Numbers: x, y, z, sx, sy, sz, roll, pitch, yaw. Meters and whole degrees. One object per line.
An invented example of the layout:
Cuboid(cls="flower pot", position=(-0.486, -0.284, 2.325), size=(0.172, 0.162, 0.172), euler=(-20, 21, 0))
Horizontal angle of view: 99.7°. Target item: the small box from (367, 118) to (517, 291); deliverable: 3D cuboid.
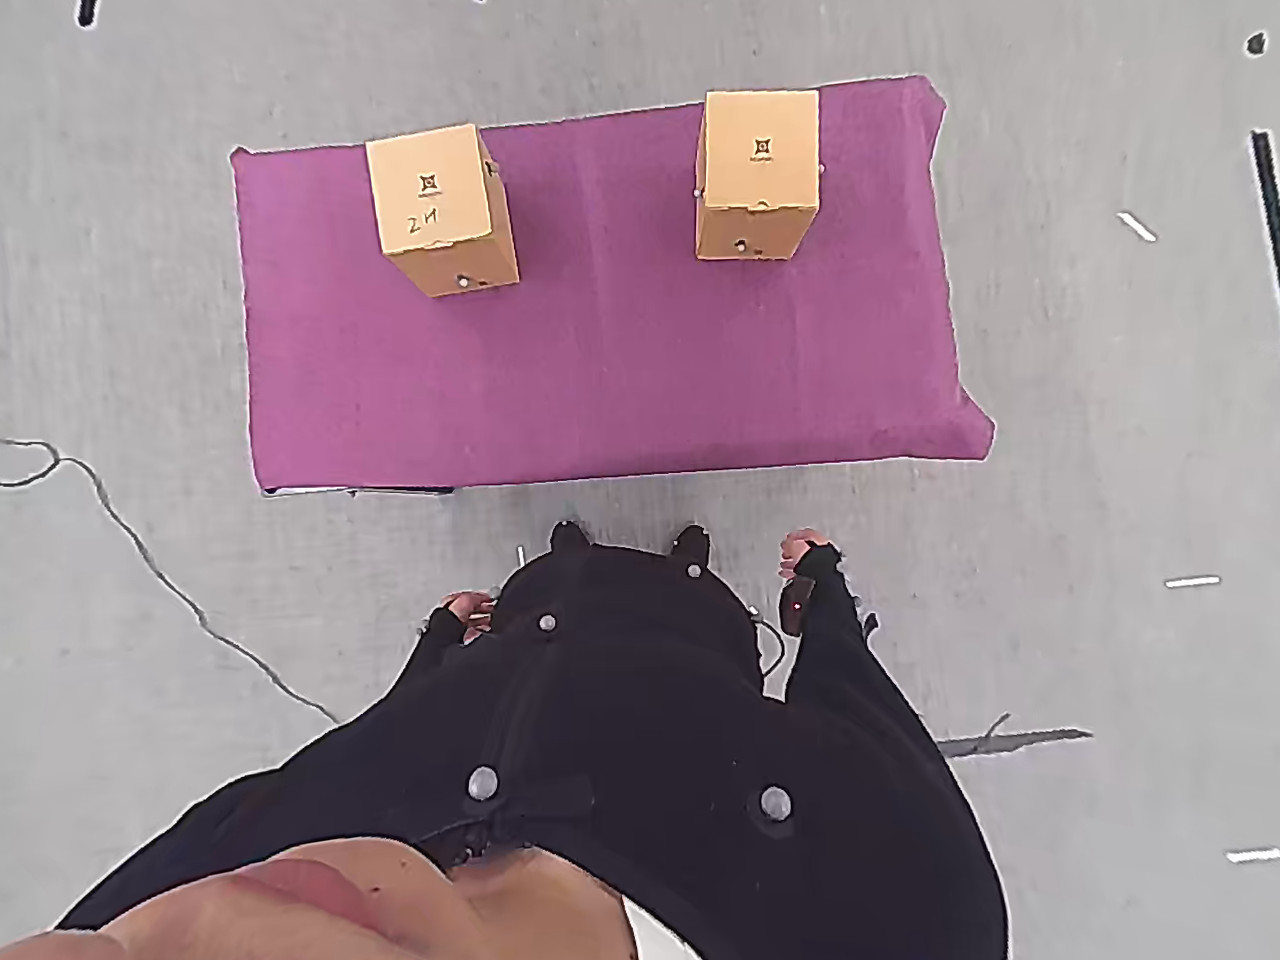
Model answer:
Cuboid(cls="small box", position=(-0.306, -0.429, 0.864), size=(0.168, 0.176, 0.179), euler=(-9, 88, 1))

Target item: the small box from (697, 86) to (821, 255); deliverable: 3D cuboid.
Cuboid(cls="small box", position=(0.180, -0.481, 0.859), size=(0.168, 0.176, 0.179), euler=(0, 89, 2))
